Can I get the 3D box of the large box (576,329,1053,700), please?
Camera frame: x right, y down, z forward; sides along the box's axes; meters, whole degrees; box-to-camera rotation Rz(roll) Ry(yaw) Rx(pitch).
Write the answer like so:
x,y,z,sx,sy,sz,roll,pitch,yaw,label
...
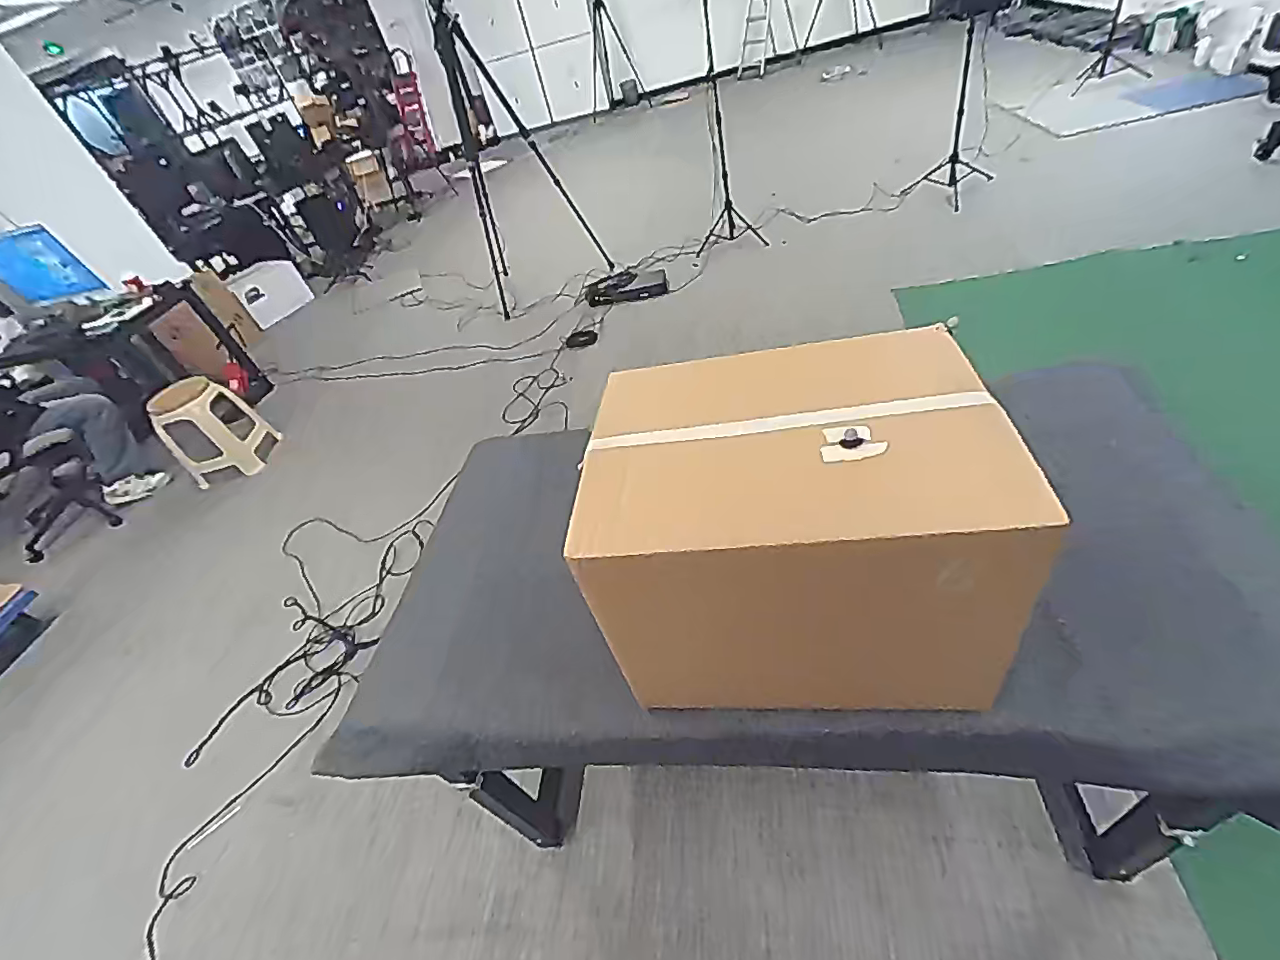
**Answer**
x,y,z,sx,sy,sz,roll,pitch,yaw,label
0.175,0.052,0.663,0.408,0.320,0.320,-5,42,13,large box
